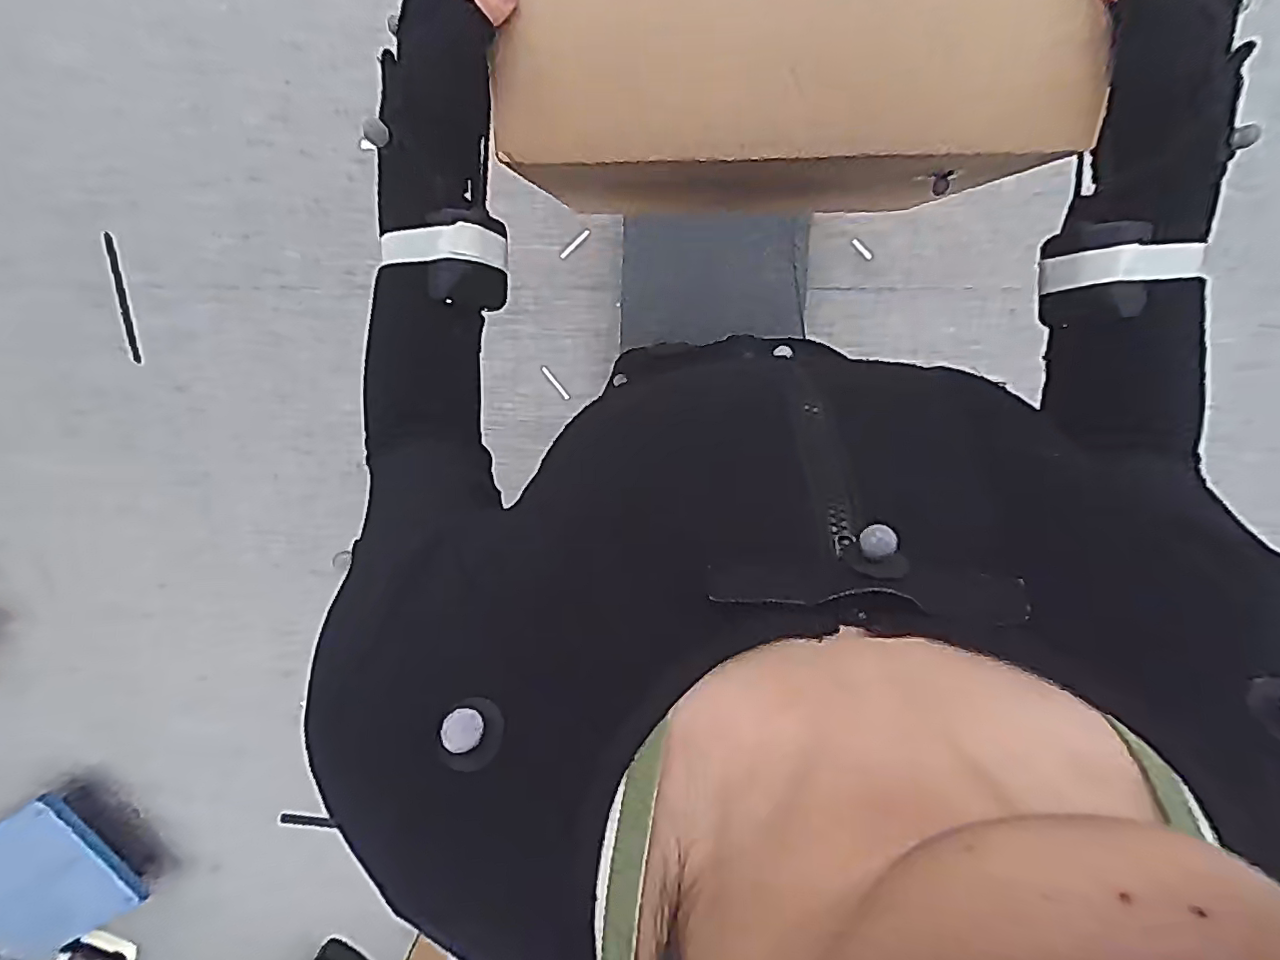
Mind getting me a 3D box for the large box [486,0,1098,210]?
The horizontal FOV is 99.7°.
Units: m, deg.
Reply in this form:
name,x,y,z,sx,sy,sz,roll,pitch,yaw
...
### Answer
name,x,y,z,sx,sy,sz,roll,pitch,yaw
large box,0.103,-0.422,0.470,0.408,0.320,0.320,1,110,3
